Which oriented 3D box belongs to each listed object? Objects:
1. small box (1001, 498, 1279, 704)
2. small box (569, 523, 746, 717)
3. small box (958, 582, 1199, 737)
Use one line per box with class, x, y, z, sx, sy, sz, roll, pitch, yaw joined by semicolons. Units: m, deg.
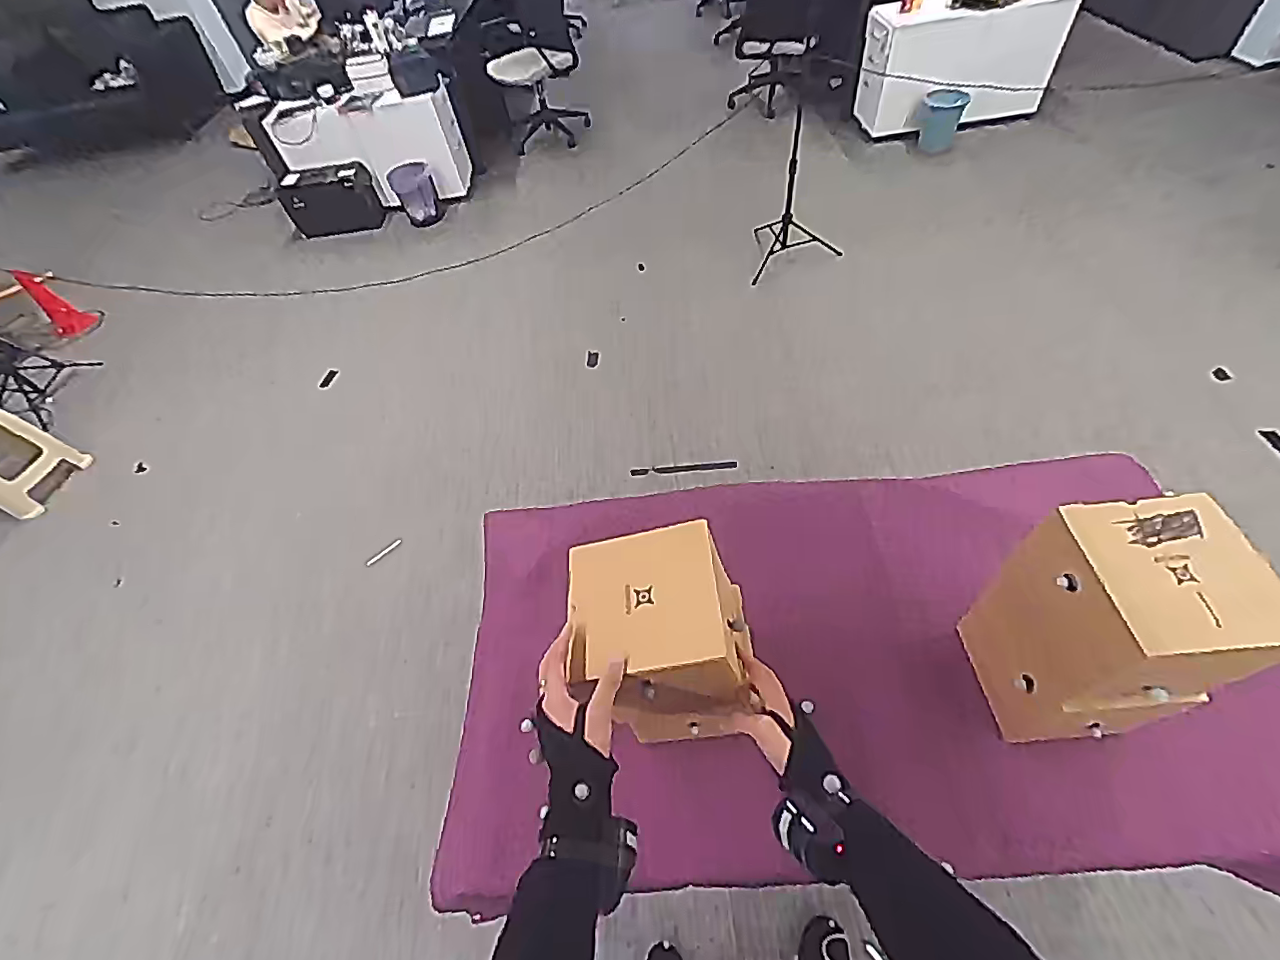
small box;0.564;0.143;0.627;0.168;0.176;0.179;-6;53;4
small box;0.027;0.178;0.662;0.179;0.176;0.168;-14;51;12
small box;0.582;0.249;0.751;0.168;0.176;0.179;-6;53;3
